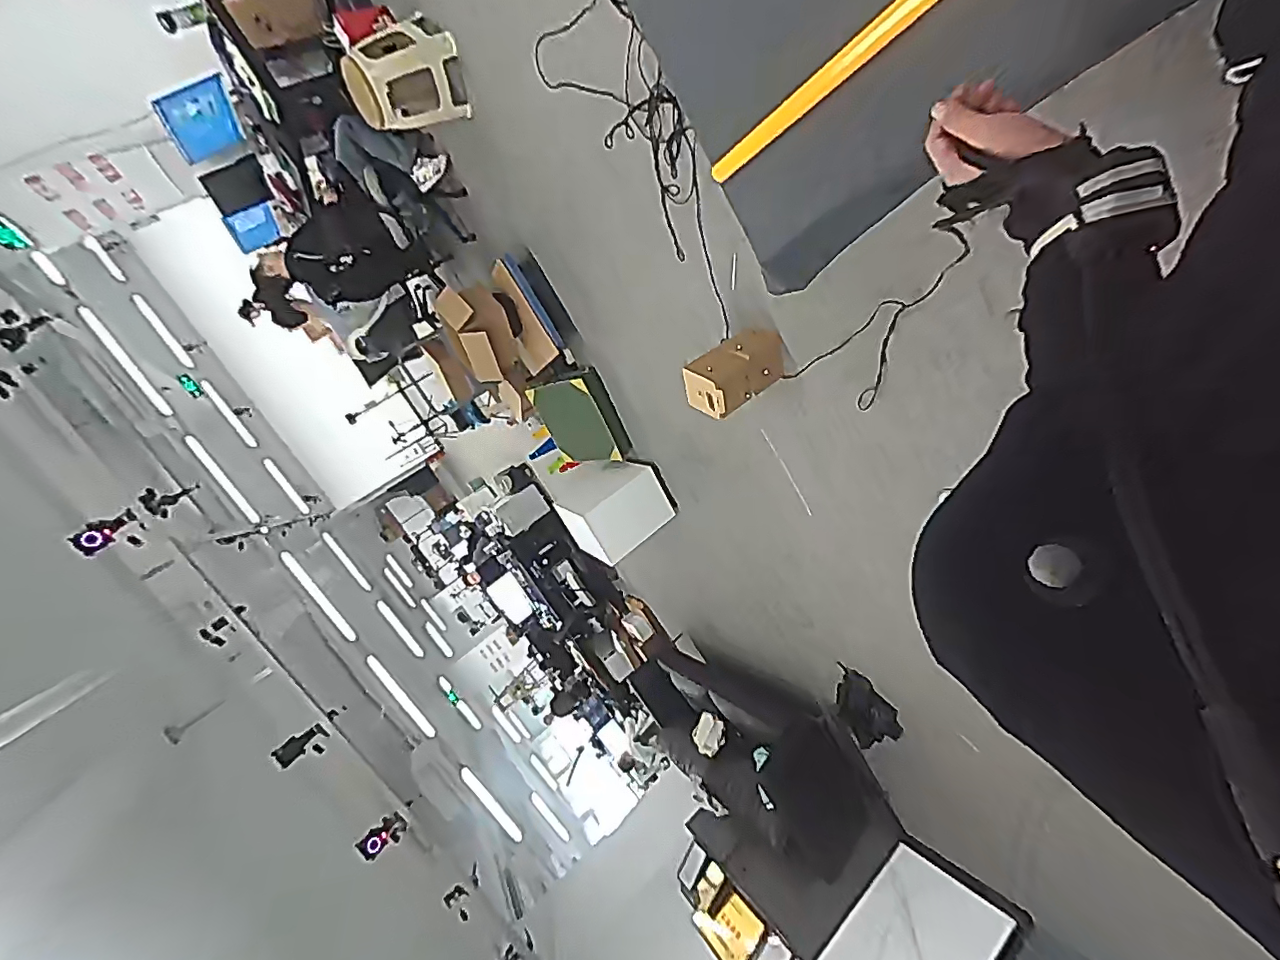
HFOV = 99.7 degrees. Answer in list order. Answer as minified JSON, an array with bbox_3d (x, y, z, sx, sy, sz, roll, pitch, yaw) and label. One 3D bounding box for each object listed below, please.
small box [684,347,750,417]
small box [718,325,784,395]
[{"bbox_3d":[0.289,-0.362,1.974,0.179,0.176,0.168,36,152,41],"label":"small box"},{"bbox_3d":[0.419,-0.452,2.023,0.168,0.176,0.179,31,150,46],"label":"small box"}]
